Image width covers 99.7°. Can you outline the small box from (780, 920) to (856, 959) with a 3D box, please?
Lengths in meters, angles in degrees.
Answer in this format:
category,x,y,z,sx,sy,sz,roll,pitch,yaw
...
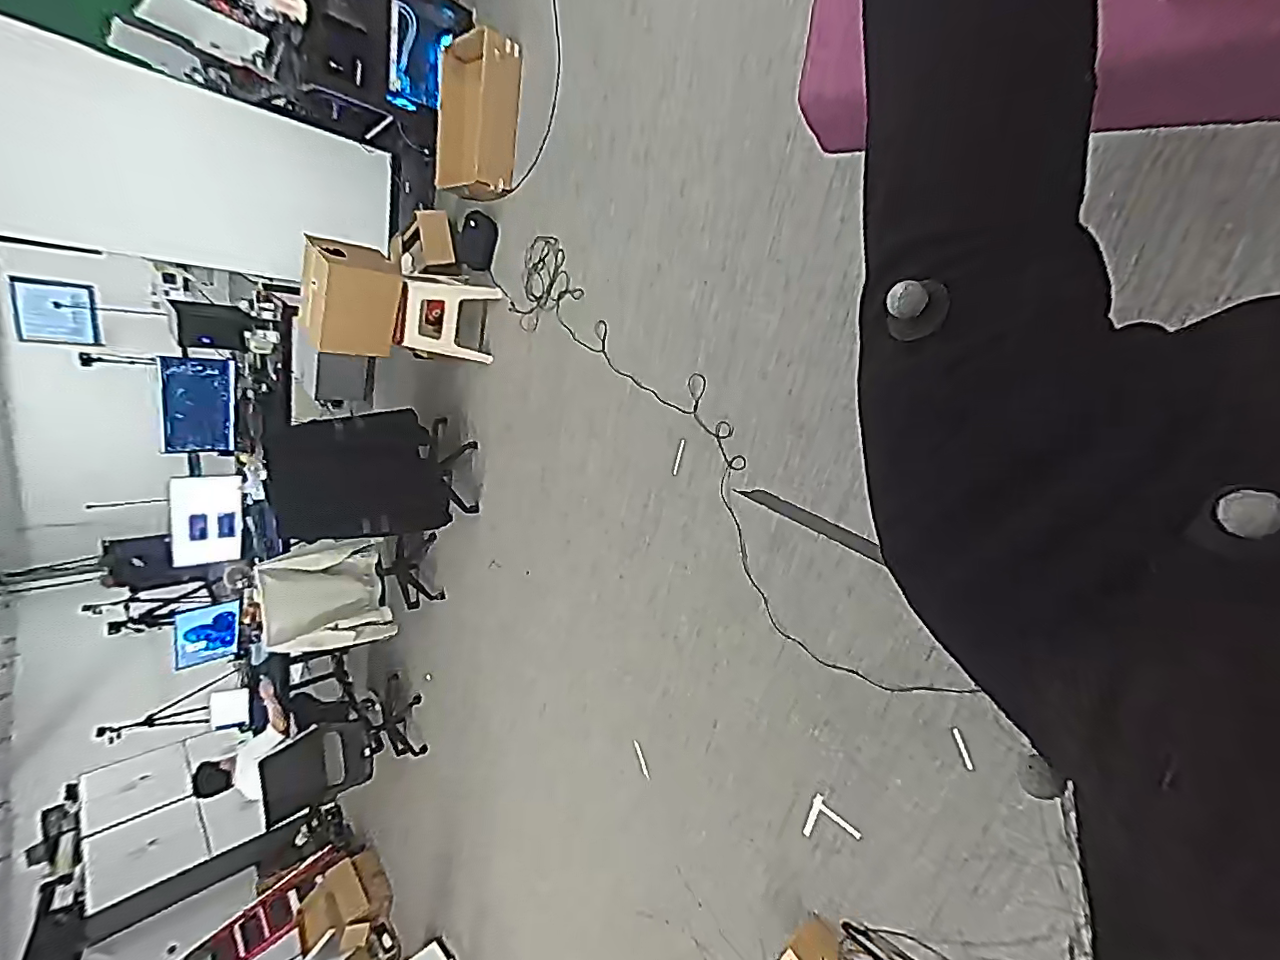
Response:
category,x,y,z,sx,sy,sz,roll,pitch,yaw
small box,0.562,1.555,1.717,0.179,0.176,0.168,40,121,32
